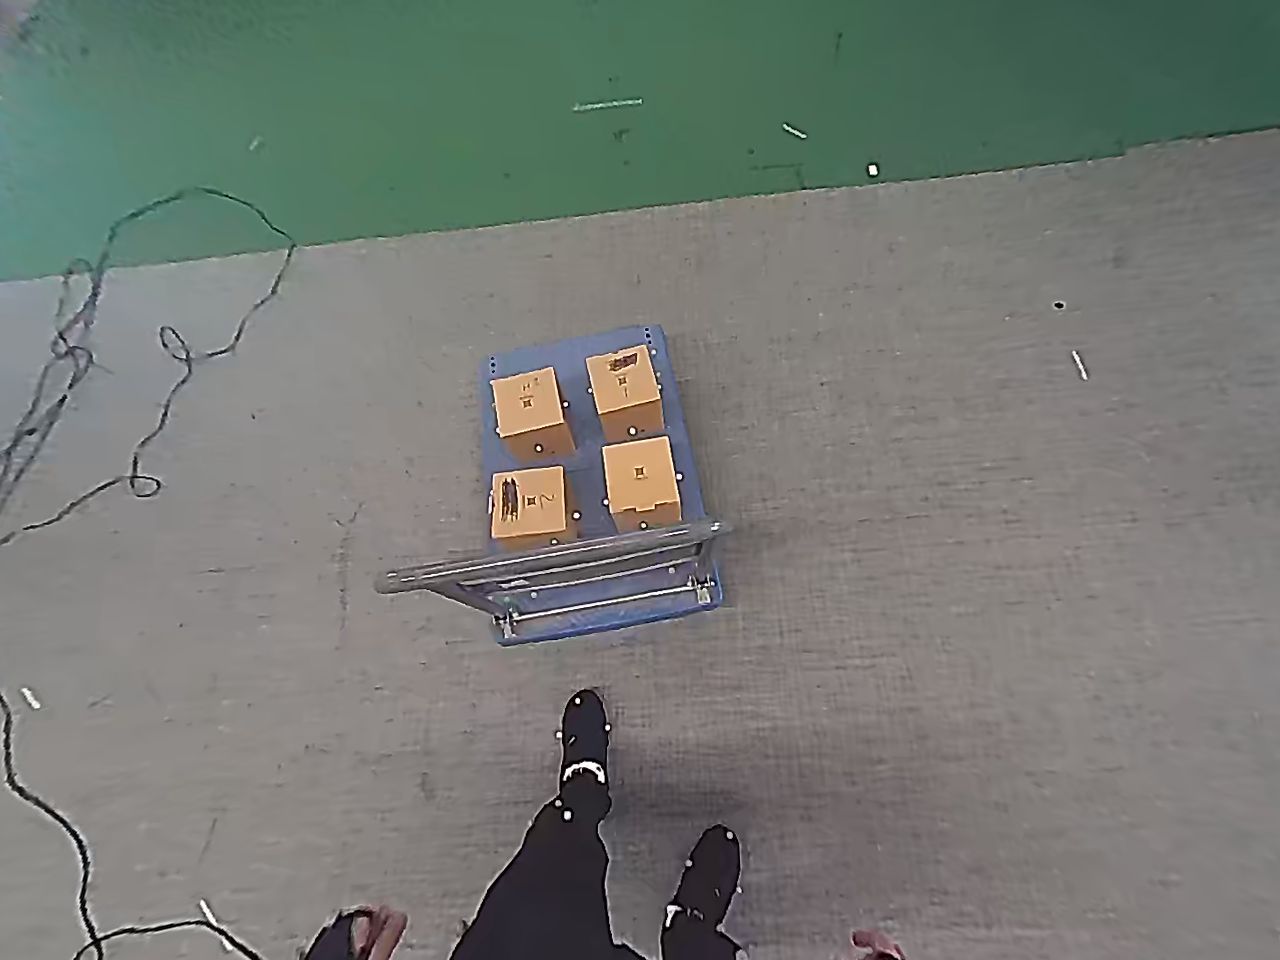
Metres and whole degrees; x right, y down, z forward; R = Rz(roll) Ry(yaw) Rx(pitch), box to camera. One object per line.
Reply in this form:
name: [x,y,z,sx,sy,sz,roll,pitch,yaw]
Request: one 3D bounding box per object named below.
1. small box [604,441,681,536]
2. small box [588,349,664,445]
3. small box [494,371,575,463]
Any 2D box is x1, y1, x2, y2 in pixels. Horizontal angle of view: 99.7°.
small box: [0.008,0.025,1.352,0.168,0.176,0.179,-9,67,1]
small box: [-0.035,-0.220,1.458,0.168,0.176,0.179,-13,68,0]
small box: [-0.279,-0.160,1.453,0.168,0.176,0.179,-13,66,-1]
